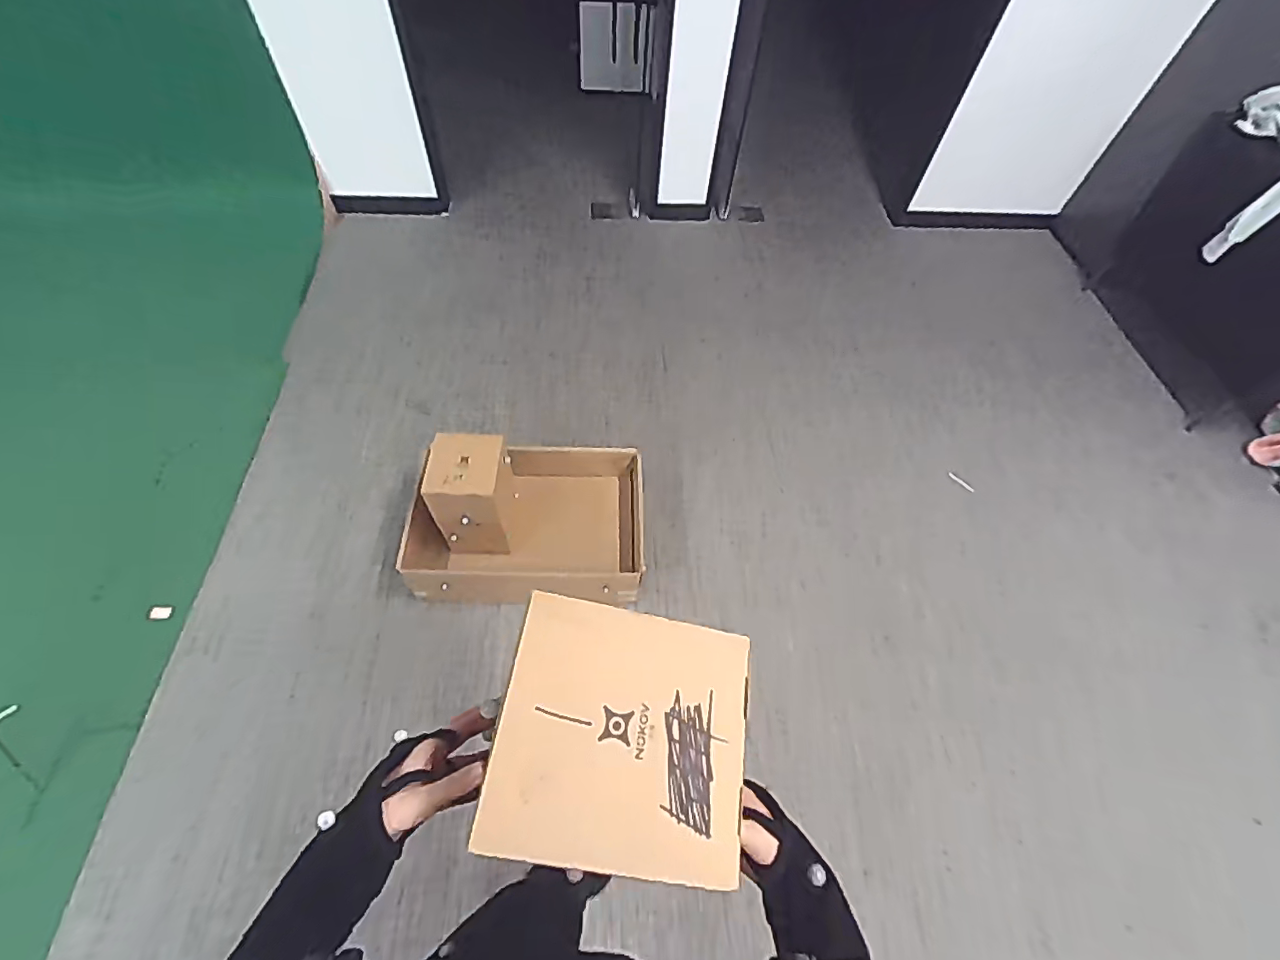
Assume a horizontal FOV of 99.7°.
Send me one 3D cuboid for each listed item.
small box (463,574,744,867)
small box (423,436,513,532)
[{"bbox_3d":[-0.031,0.197,0.449,0.179,0.176,0.168,14,59,-7],"label":"small box"},{"bbox_3d":[-0.419,0.012,1.352,0.168,0.176,0.179,2,57,-2],"label":"small box"}]
